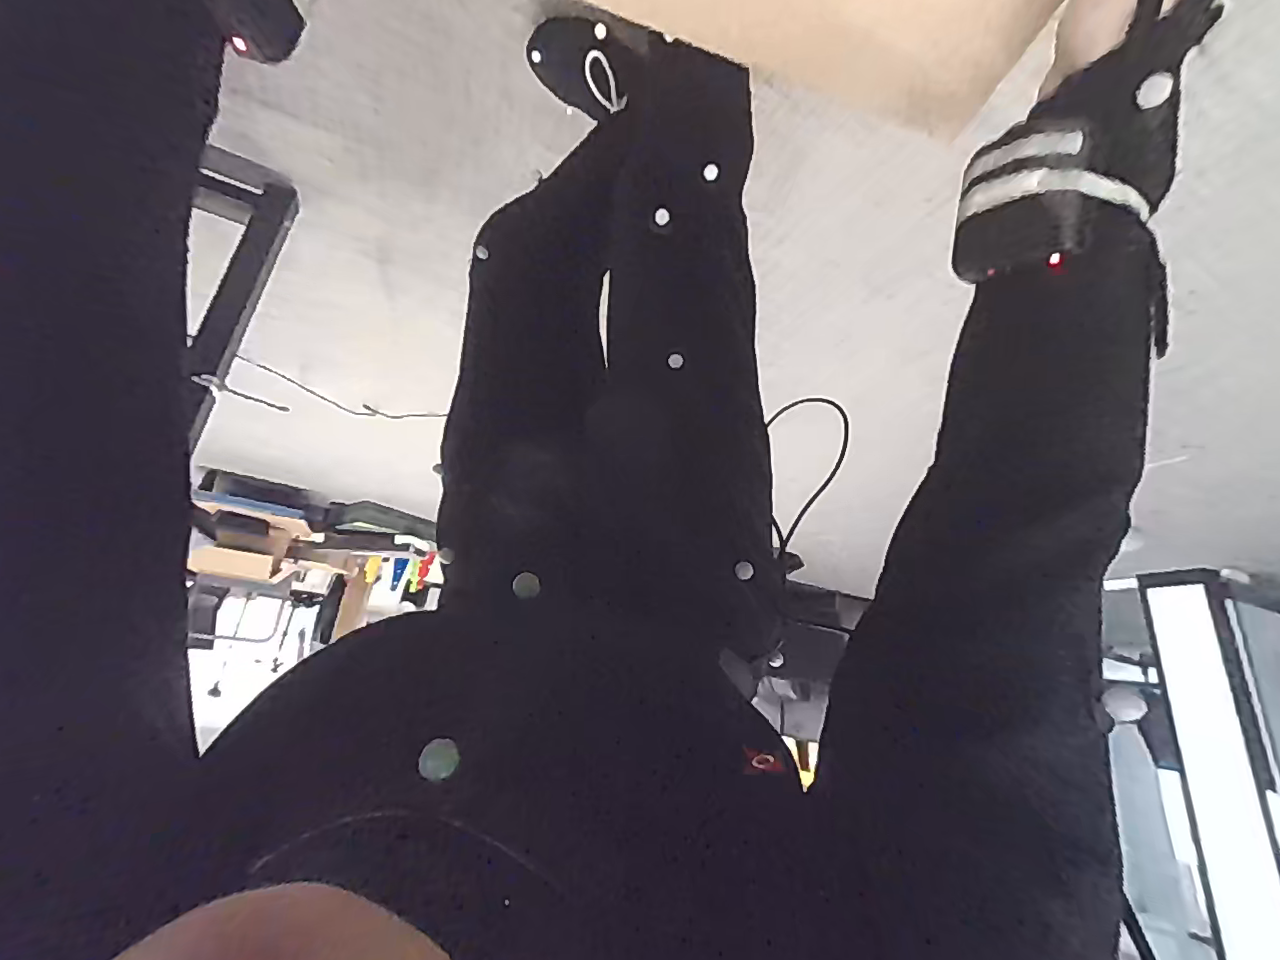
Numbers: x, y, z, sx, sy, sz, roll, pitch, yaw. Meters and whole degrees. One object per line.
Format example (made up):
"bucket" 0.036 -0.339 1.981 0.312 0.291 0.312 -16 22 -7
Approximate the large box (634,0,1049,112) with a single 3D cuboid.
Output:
"large box" 0.085 -0.491 0.289 0.408 0.320 0.320 13 150 -9
